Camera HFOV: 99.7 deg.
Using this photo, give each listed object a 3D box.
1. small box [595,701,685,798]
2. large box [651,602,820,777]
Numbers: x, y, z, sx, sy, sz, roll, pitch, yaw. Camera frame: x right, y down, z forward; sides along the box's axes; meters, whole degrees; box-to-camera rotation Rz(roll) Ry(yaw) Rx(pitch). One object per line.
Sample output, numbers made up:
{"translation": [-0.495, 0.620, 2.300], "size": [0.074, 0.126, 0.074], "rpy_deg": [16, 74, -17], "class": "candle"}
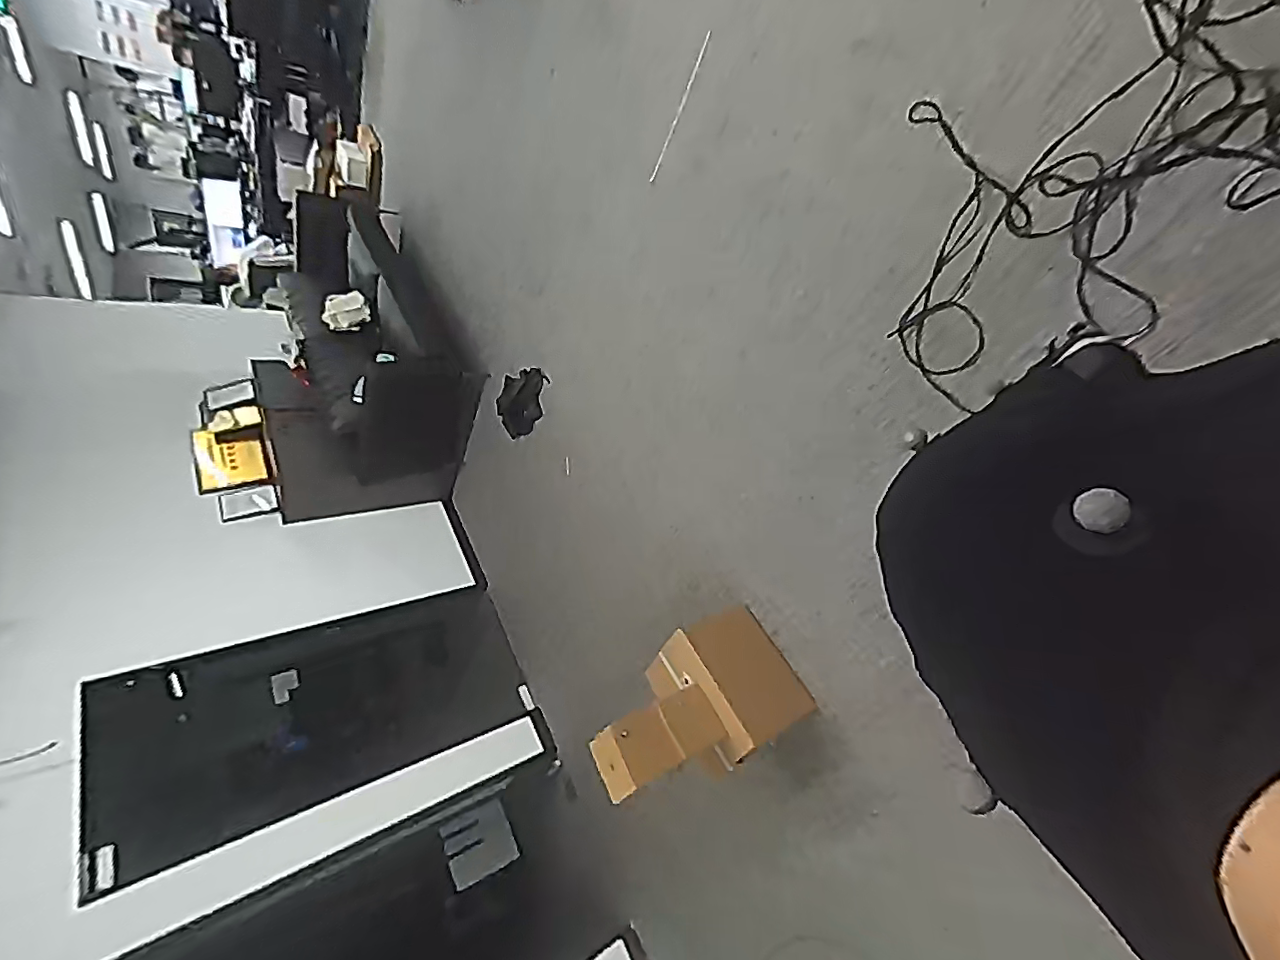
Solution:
{"translation": [0.000, 0.769, 1.550], "size": [0.179, 0.176, 0.168], "rpy_deg": [59, 138, 28], "class": "small box"}
{"translation": [0.308, 0.684, 1.806], "size": [0.408, 0.320, 0.320], "rpy_deg": [56, 135, 31], "class": "large box"}
